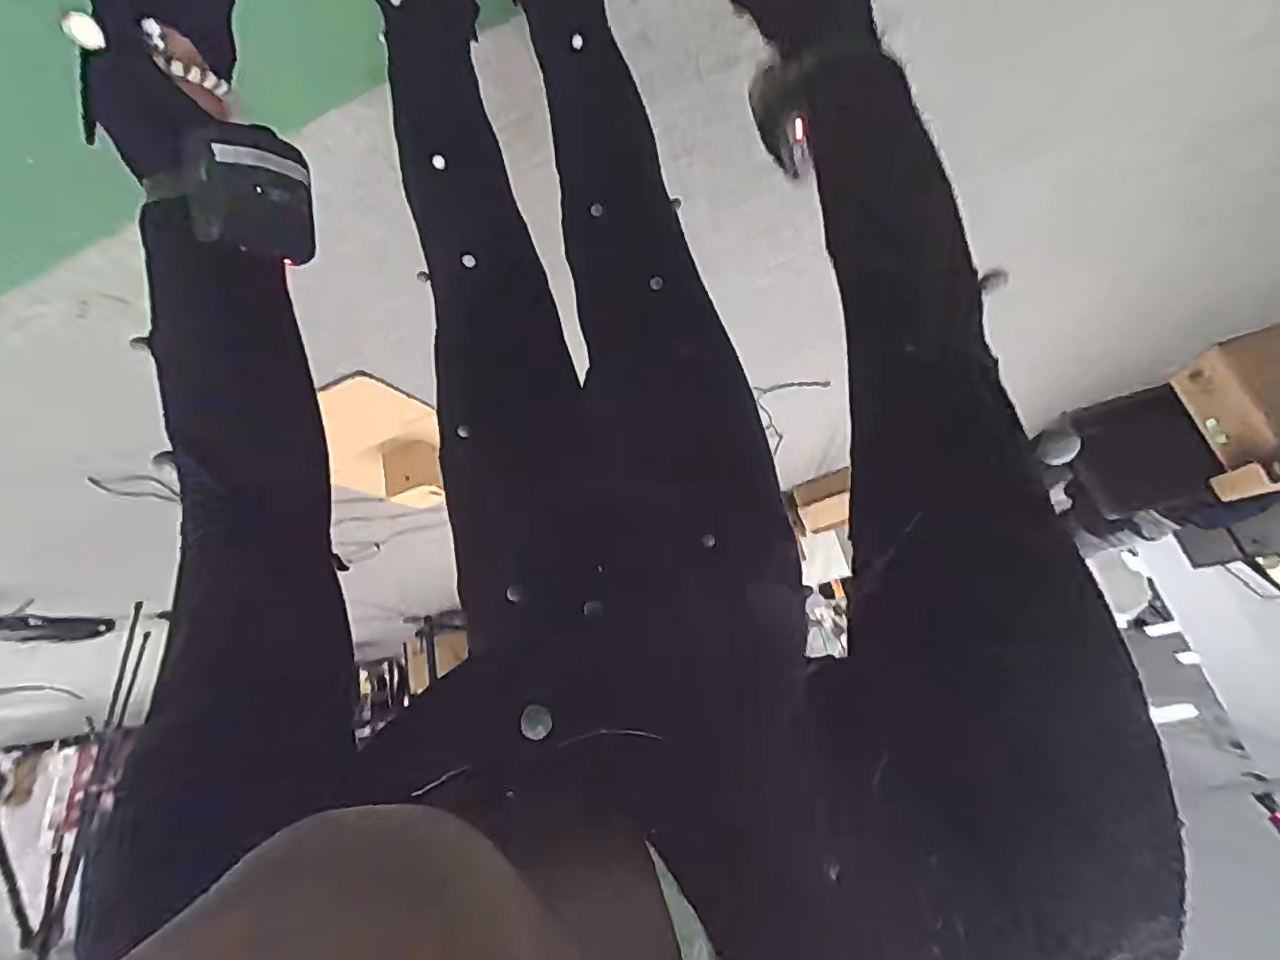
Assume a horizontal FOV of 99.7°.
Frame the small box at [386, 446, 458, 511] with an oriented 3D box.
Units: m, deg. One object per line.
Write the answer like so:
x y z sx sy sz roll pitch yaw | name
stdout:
-0.783 -0.006 1.929 0.179 0.176 0.168 -19 160 17 | small box
